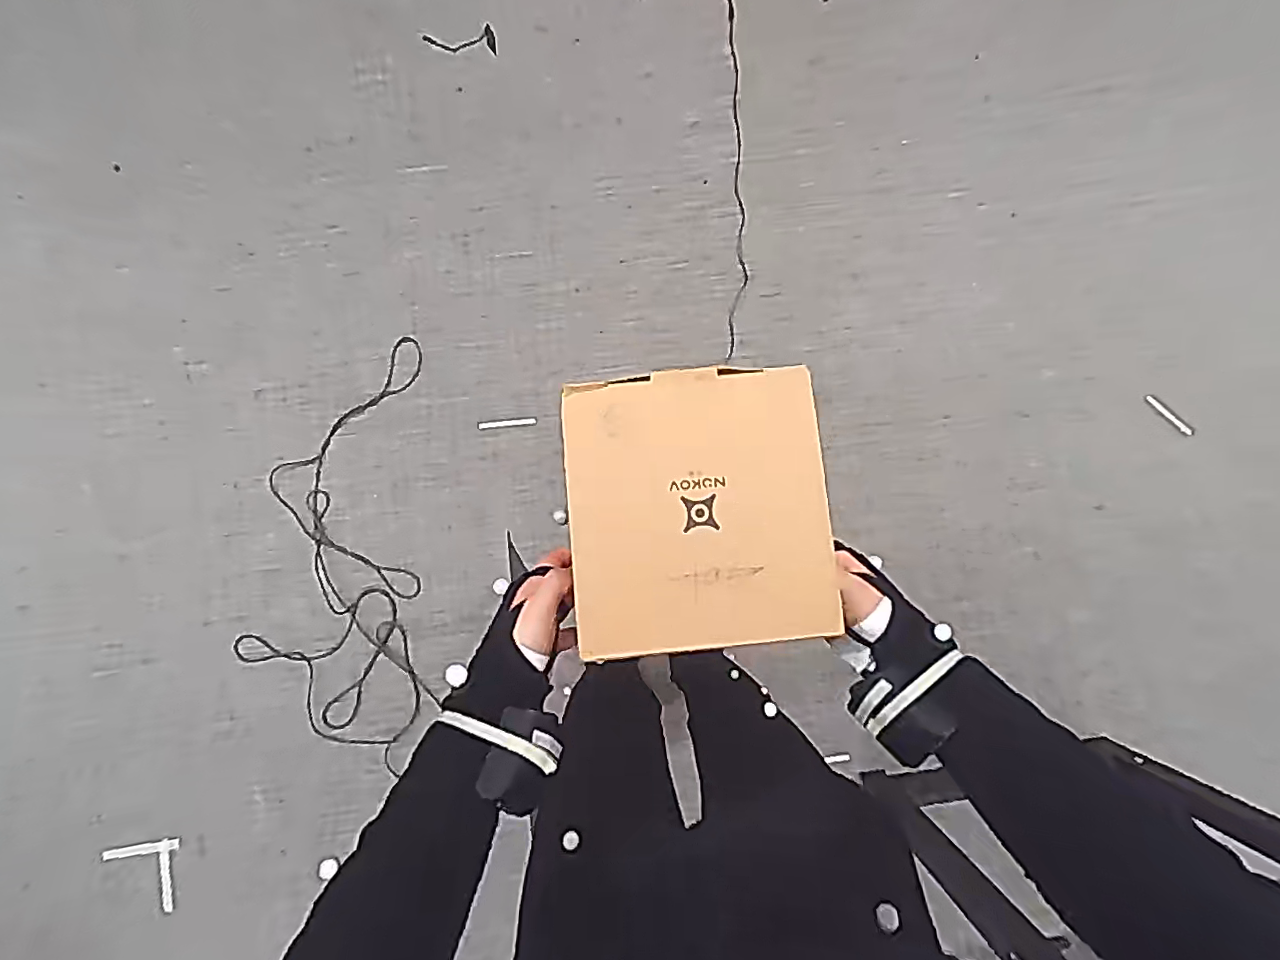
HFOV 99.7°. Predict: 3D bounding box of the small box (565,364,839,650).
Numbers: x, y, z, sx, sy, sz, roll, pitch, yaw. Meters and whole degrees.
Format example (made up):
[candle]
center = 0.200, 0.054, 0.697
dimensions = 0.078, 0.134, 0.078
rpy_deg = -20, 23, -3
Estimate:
[small box]
center = 0.035, 0.024, 0.429
dimensions = 0.168, 0.176, 0.179
rpy_deg = -6, 83, -2
